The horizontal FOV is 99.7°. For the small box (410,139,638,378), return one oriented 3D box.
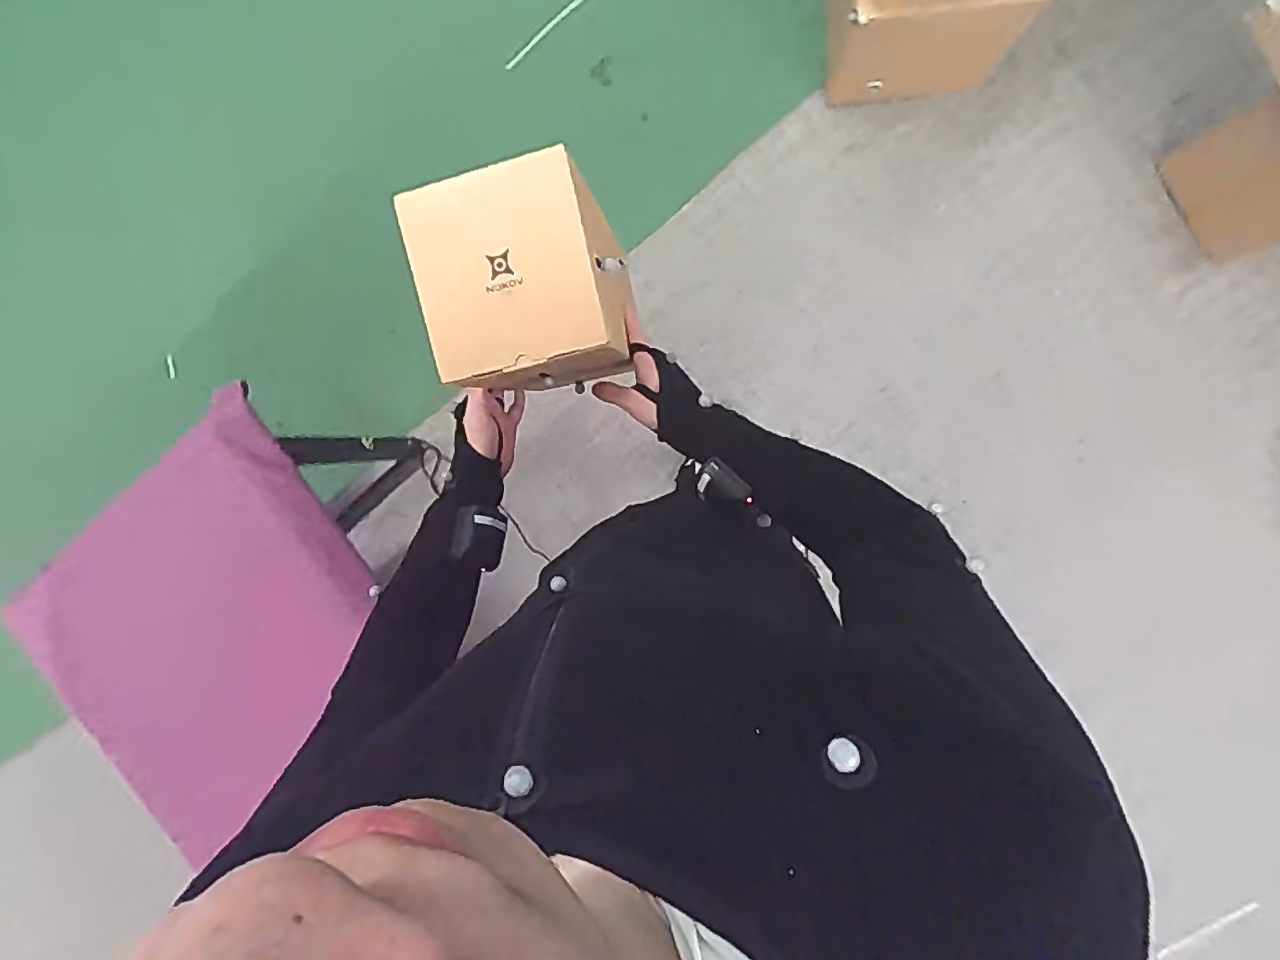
[{"bbox_3d":[-0.103,-0.208,0.561,0.168,0.176,0.179,-11,99,8],"label":"small box"}]

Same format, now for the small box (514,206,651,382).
[{"bbox_3d":[-0.084,-0.232,0.721,0.168,0.176,0.179,-10,99,8],"label":"small box"}]
